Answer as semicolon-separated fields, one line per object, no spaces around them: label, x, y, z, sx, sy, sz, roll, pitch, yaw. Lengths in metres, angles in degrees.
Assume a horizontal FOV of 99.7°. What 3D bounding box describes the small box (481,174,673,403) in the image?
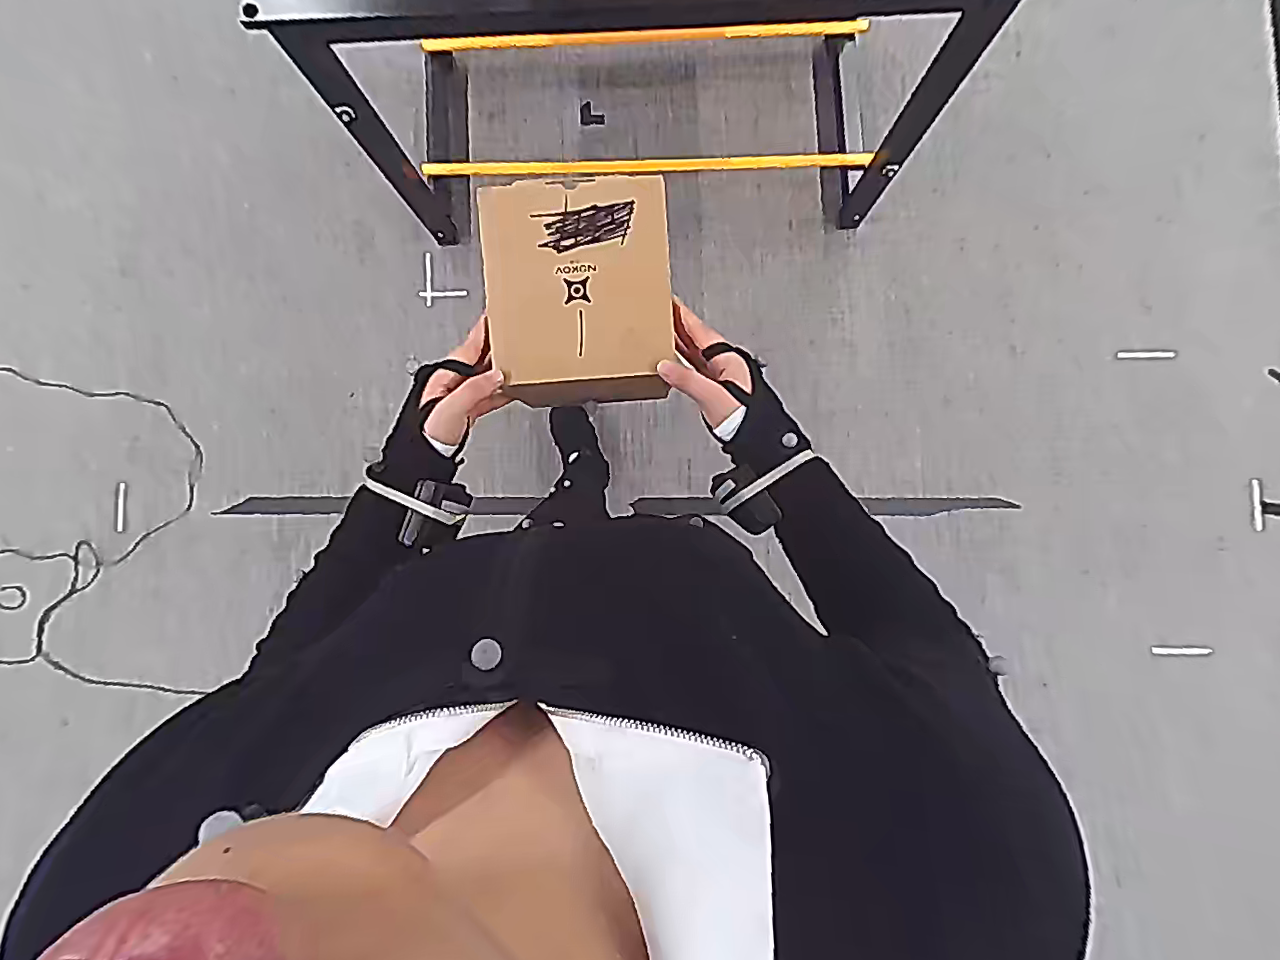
small box;-0.057;-0.182;0.560;0.168;0.176;0.179;-4;91;0
